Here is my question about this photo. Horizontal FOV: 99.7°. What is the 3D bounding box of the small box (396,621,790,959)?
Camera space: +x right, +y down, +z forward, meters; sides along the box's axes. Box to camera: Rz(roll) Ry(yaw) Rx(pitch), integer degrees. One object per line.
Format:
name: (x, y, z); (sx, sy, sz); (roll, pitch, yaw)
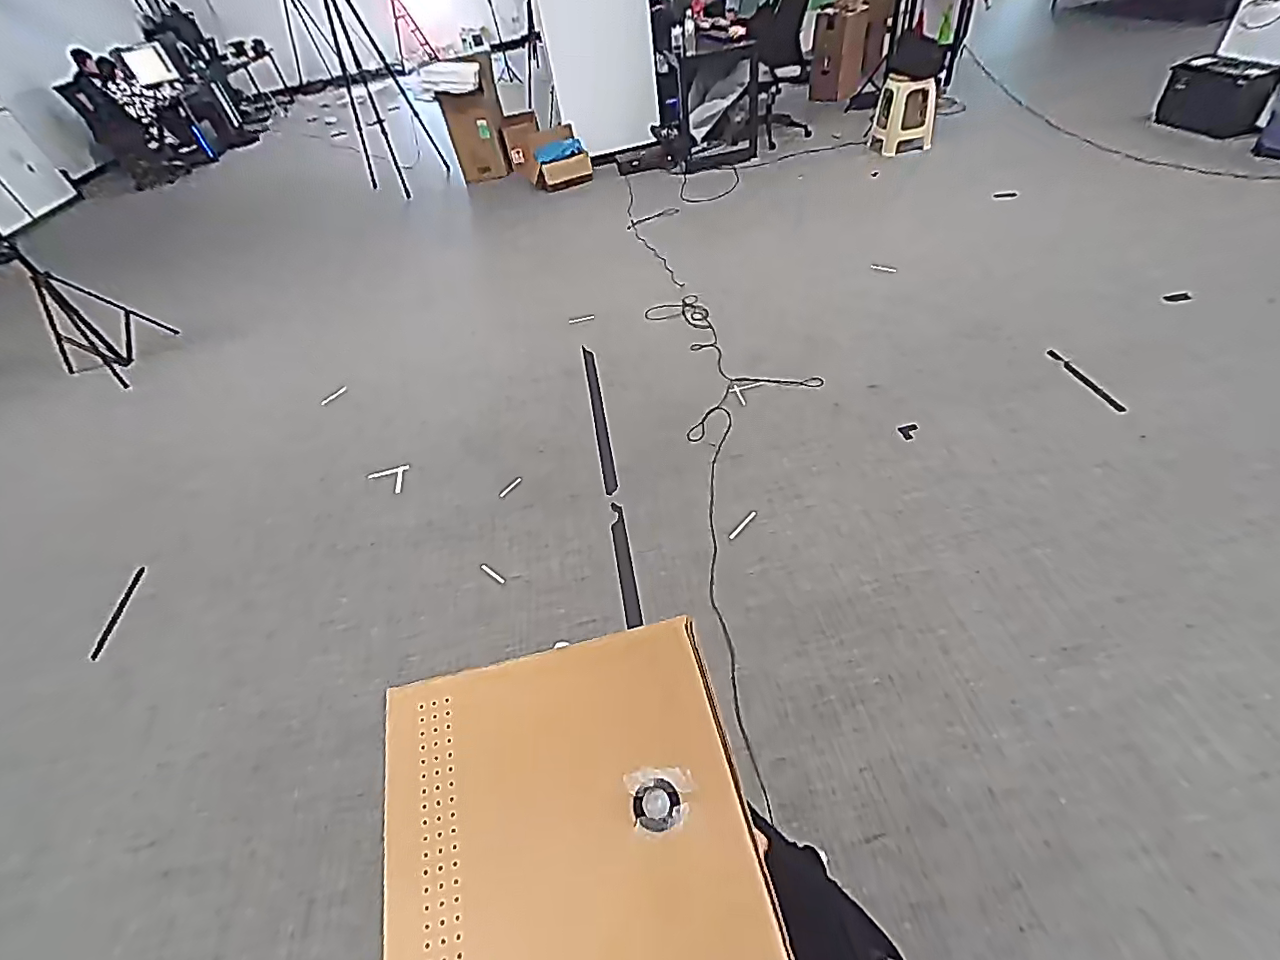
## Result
small box: (-0.032, 0.210, 0.322); (0.176, 0.168, 0.179); (-13, 58, -5)
